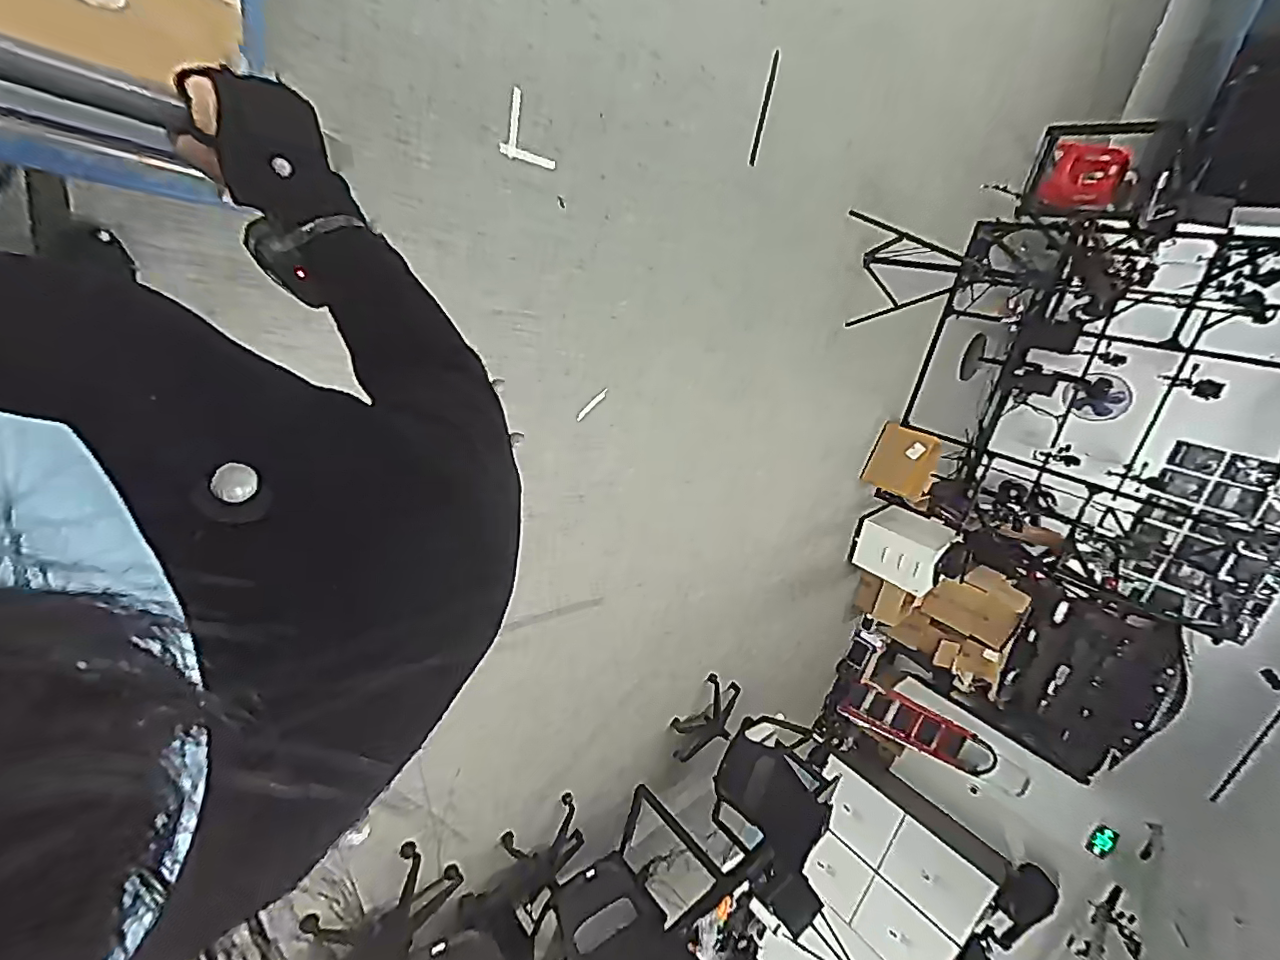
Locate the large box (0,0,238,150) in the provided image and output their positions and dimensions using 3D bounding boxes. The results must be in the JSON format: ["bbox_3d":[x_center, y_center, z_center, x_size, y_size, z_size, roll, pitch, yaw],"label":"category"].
[{"bbox_3d":[-0.751,-0.630,0.632,0.408,0.320,0.320,-5,115,-46],"label":"large box"}]
